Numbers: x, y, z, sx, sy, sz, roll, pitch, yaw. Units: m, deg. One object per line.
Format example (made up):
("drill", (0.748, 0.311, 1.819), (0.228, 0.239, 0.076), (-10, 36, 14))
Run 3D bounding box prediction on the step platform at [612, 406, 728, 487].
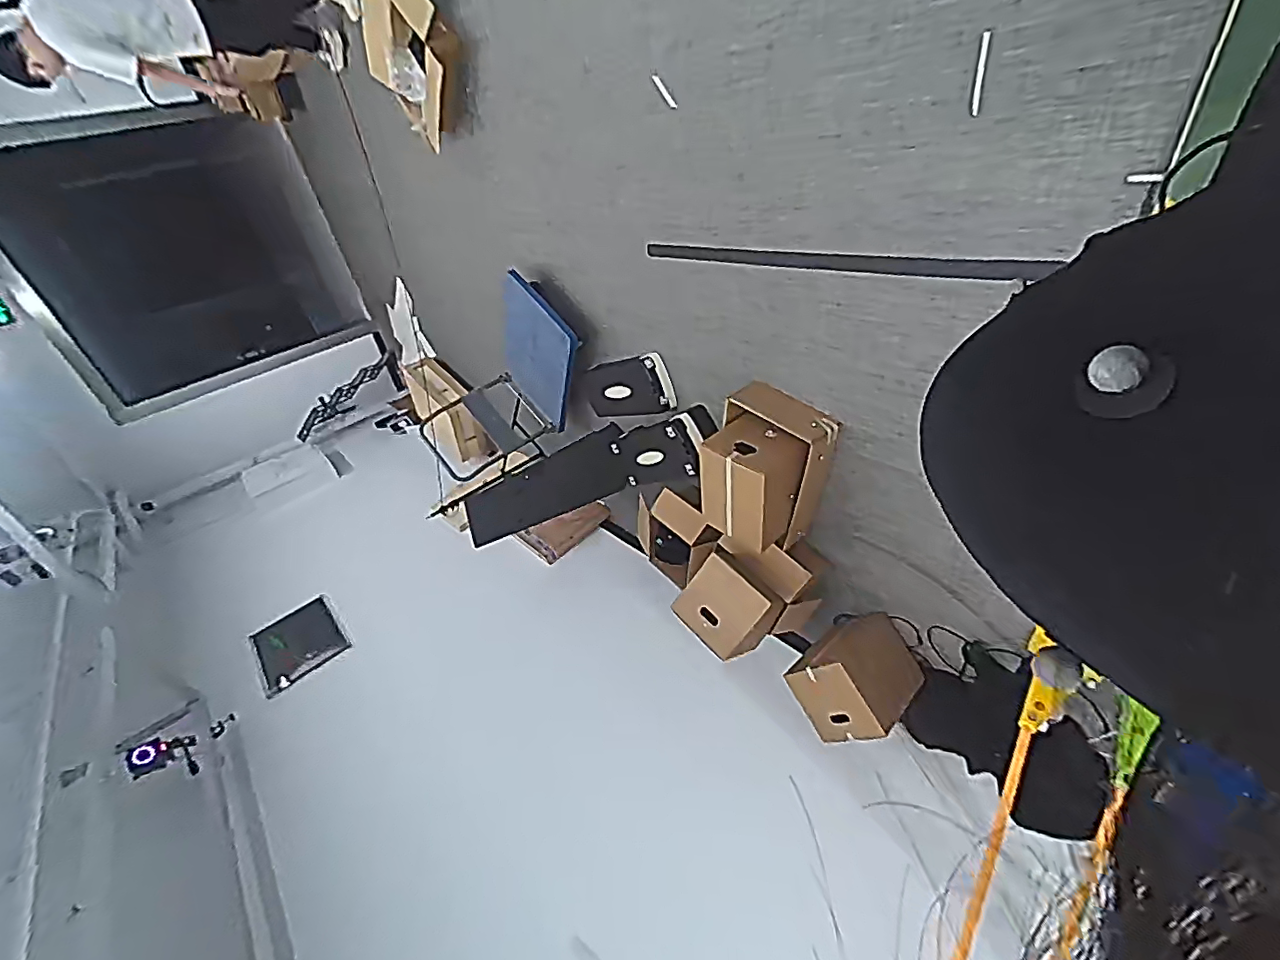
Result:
("step platform", (0.123, -0.149, 2.728), (0.684, 0.204, 0.286), (-12, 109, 59))
